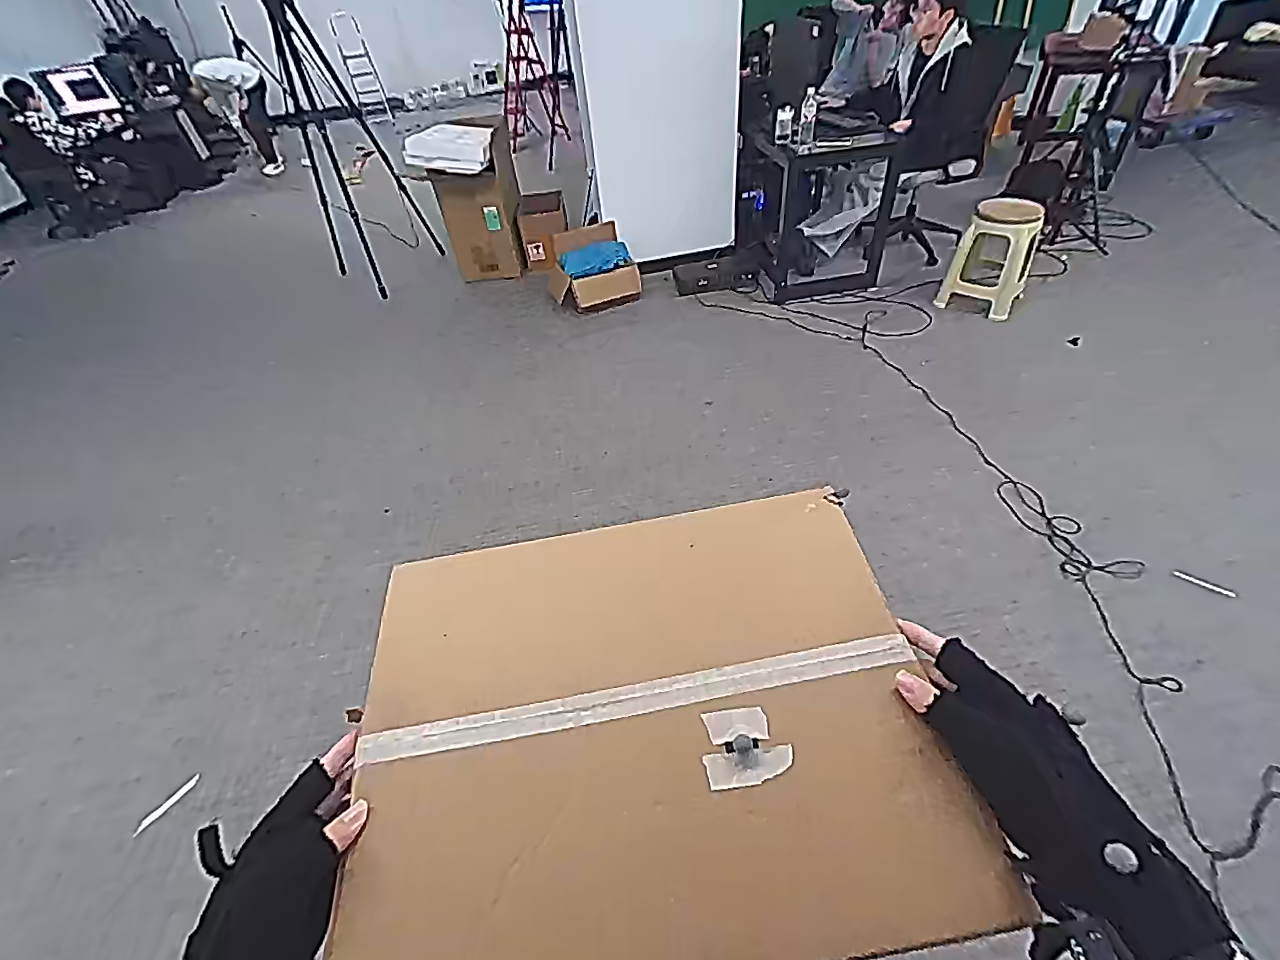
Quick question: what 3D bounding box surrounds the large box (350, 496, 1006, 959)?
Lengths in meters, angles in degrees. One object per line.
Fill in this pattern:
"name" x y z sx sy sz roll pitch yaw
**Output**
"large box" 0.014 0.259 0.521 0.408 0.320 0.320 -10 50 -1
